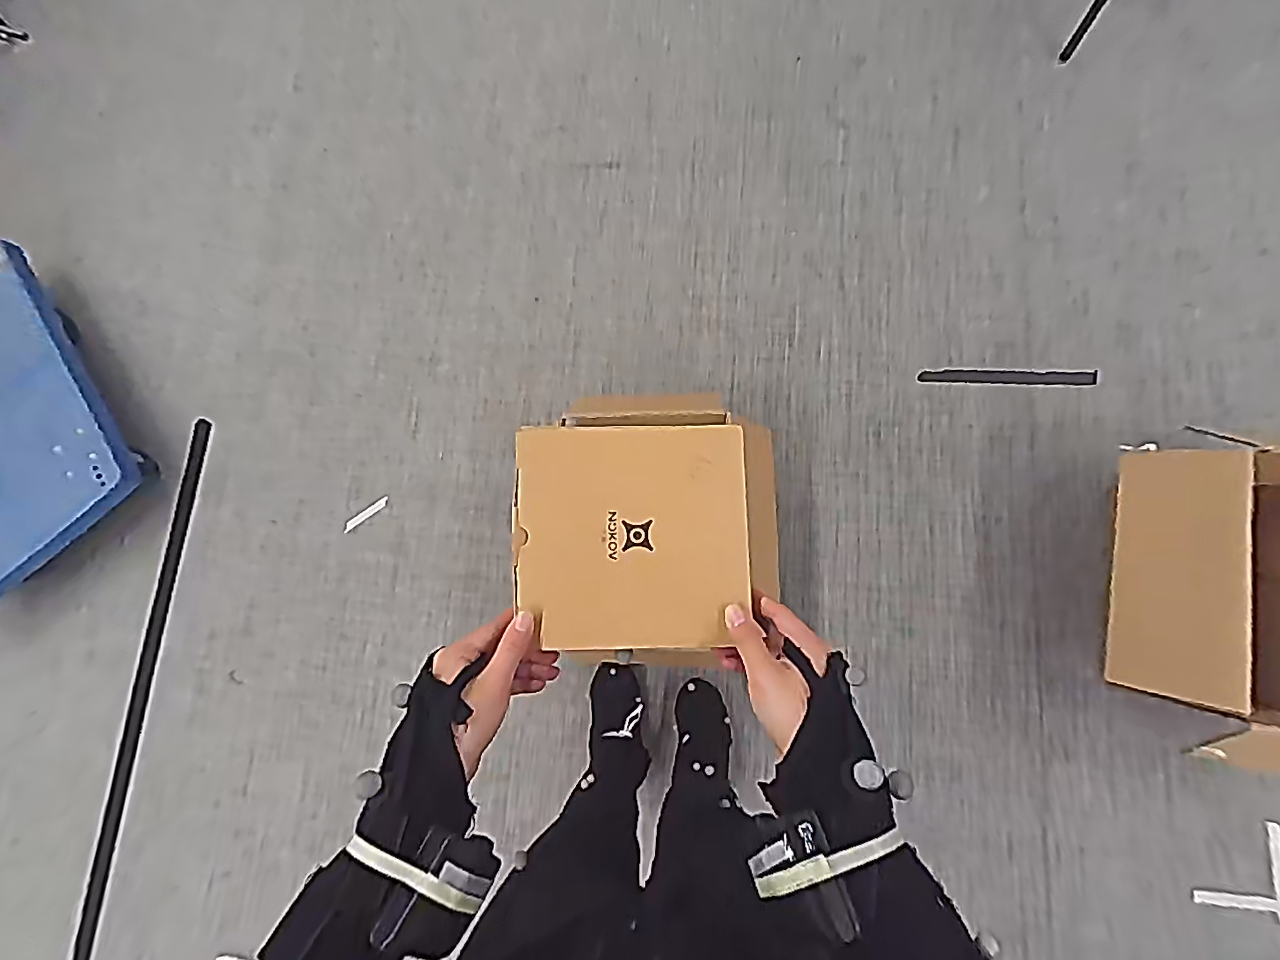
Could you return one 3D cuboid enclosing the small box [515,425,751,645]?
[{"bbox_3d":[-0.006,0.049,0.485,0.179,0.176,0.168,-2,82,1],"label":"small box"}]
